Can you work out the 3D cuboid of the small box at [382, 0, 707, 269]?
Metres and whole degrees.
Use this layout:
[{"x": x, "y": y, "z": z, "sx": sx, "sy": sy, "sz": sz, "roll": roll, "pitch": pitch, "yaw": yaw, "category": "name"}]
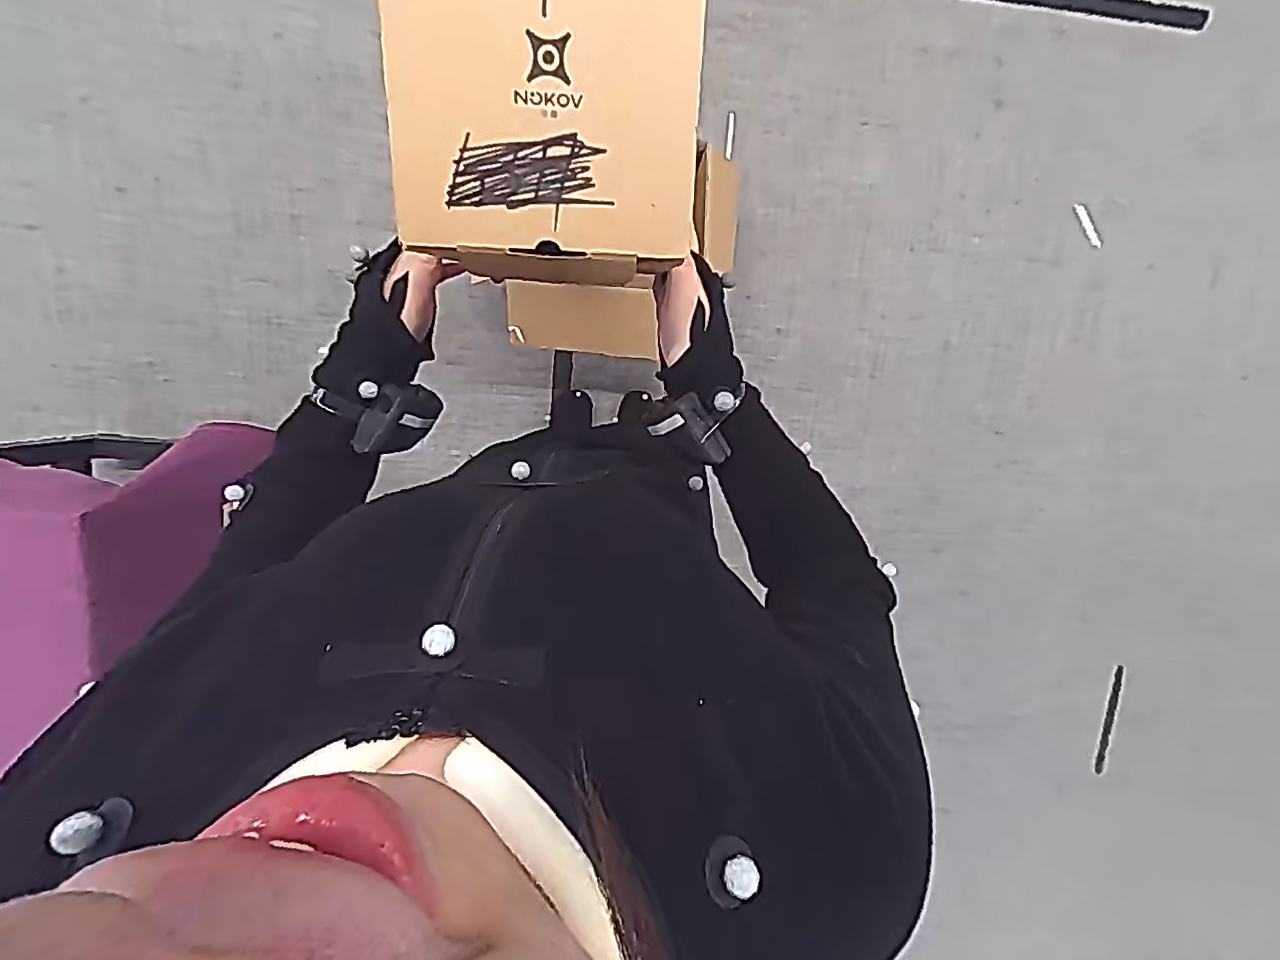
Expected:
[{"x": -0.055, "y": -0.239, "z": 0.359, "sx": 0.168, "sy": 0.176, "sz": 0.179, "roll": 1, "pitch": 108, "yaw": -6, "category": "small box"}]
